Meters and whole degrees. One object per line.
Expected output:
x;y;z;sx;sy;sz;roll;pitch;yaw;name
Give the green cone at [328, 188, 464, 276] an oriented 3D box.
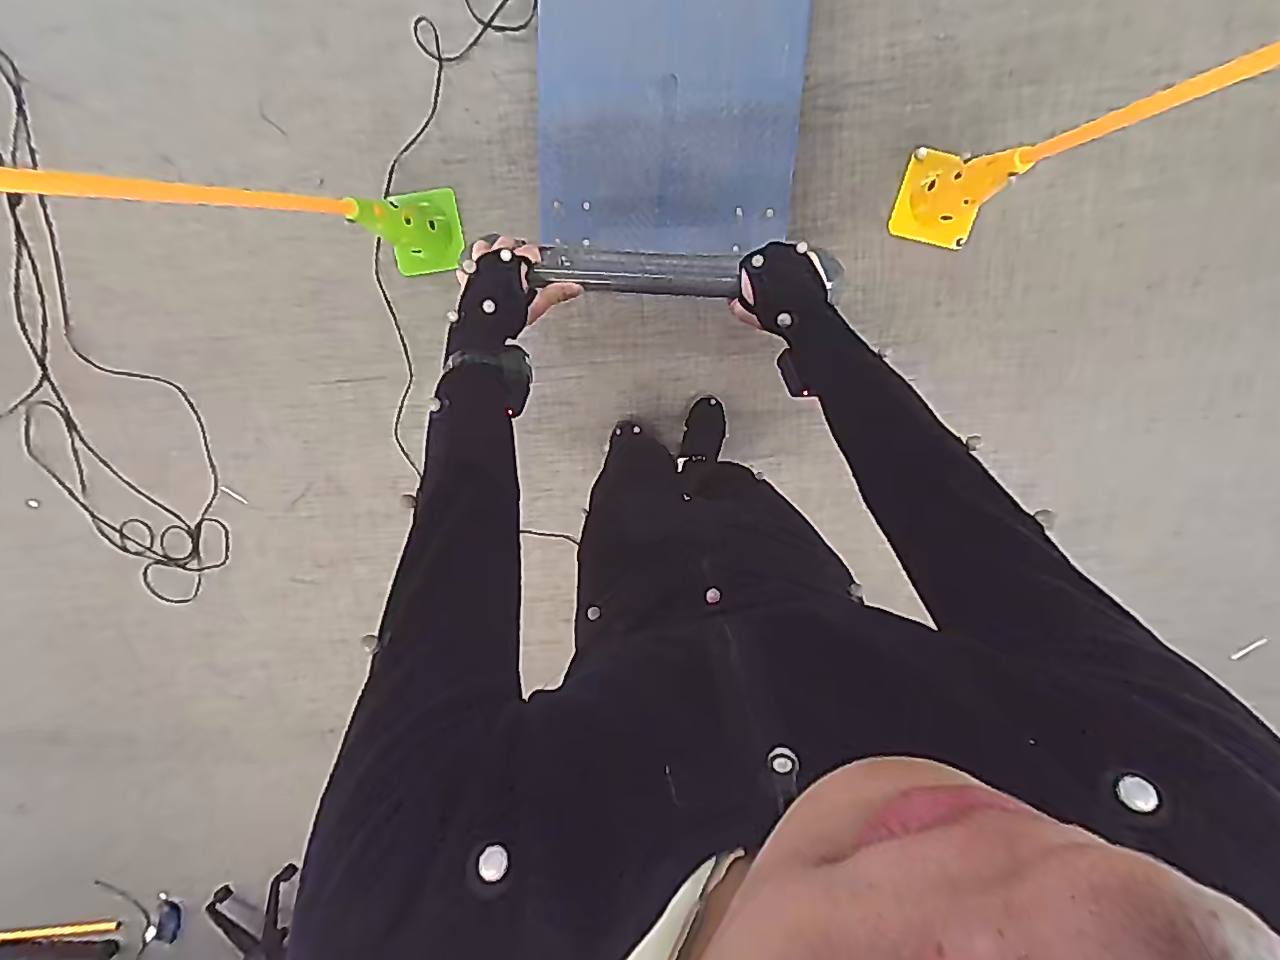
-0.599;-0.614;1.281;0.202;0.368;0.200;-6;105;8;green cone
